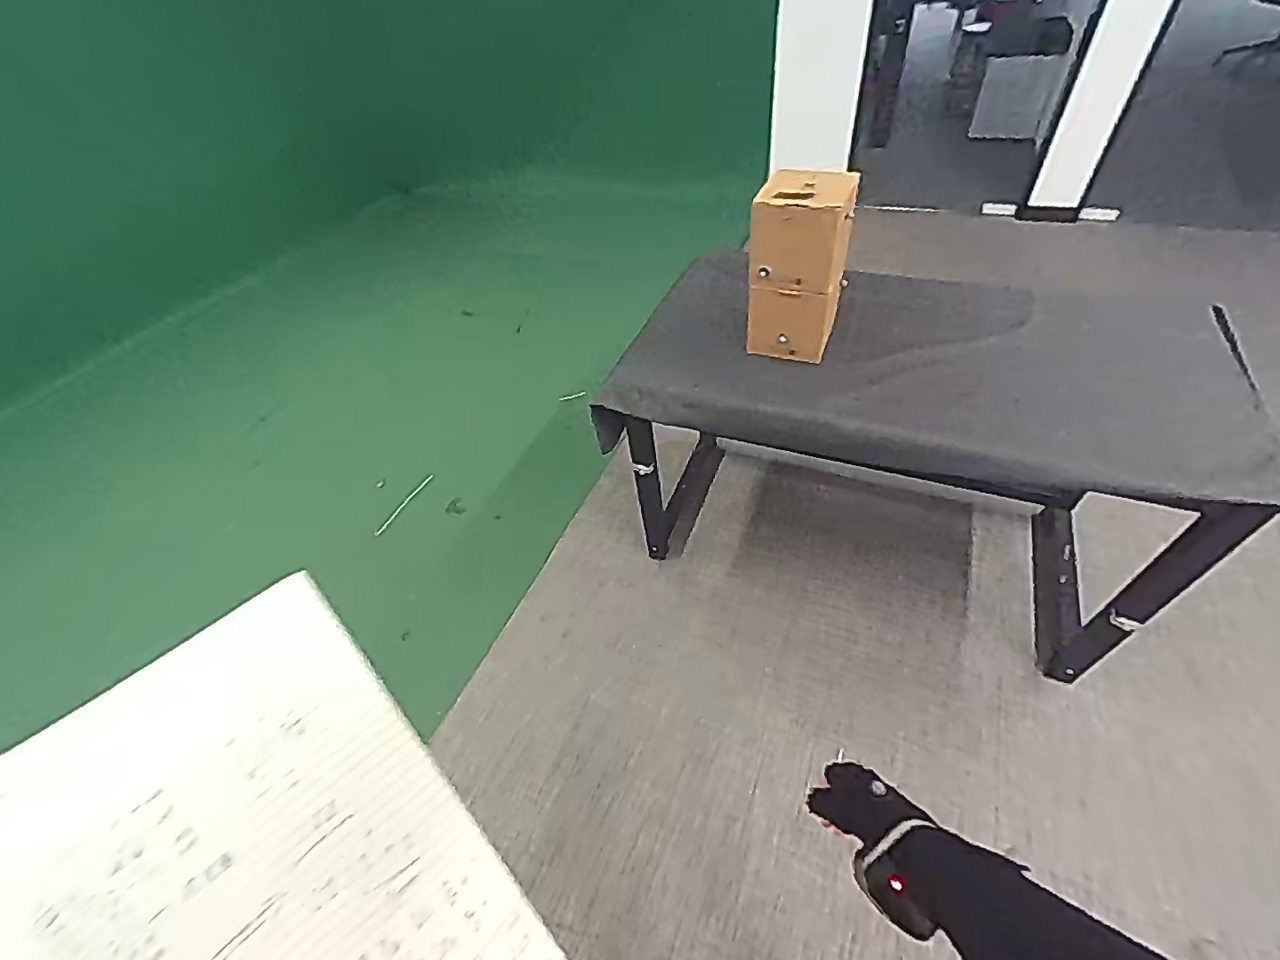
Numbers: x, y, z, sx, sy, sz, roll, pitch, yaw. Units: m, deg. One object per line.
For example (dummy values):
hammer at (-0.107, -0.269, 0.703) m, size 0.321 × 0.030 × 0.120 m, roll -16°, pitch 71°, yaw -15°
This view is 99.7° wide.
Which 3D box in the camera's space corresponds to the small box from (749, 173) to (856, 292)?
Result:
small box at (0.325, -0.502, 1.098) m, size 0.168 × 0.176 × 0.179 m, roll 16°, pitch 51°, yaw 21°

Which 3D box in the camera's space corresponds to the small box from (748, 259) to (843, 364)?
small box at (0.343, -0.388, 1.215) m, size 0.168 × 0.176 × 0.179 m, roll 14°, pitch 51°, yaw 20°
